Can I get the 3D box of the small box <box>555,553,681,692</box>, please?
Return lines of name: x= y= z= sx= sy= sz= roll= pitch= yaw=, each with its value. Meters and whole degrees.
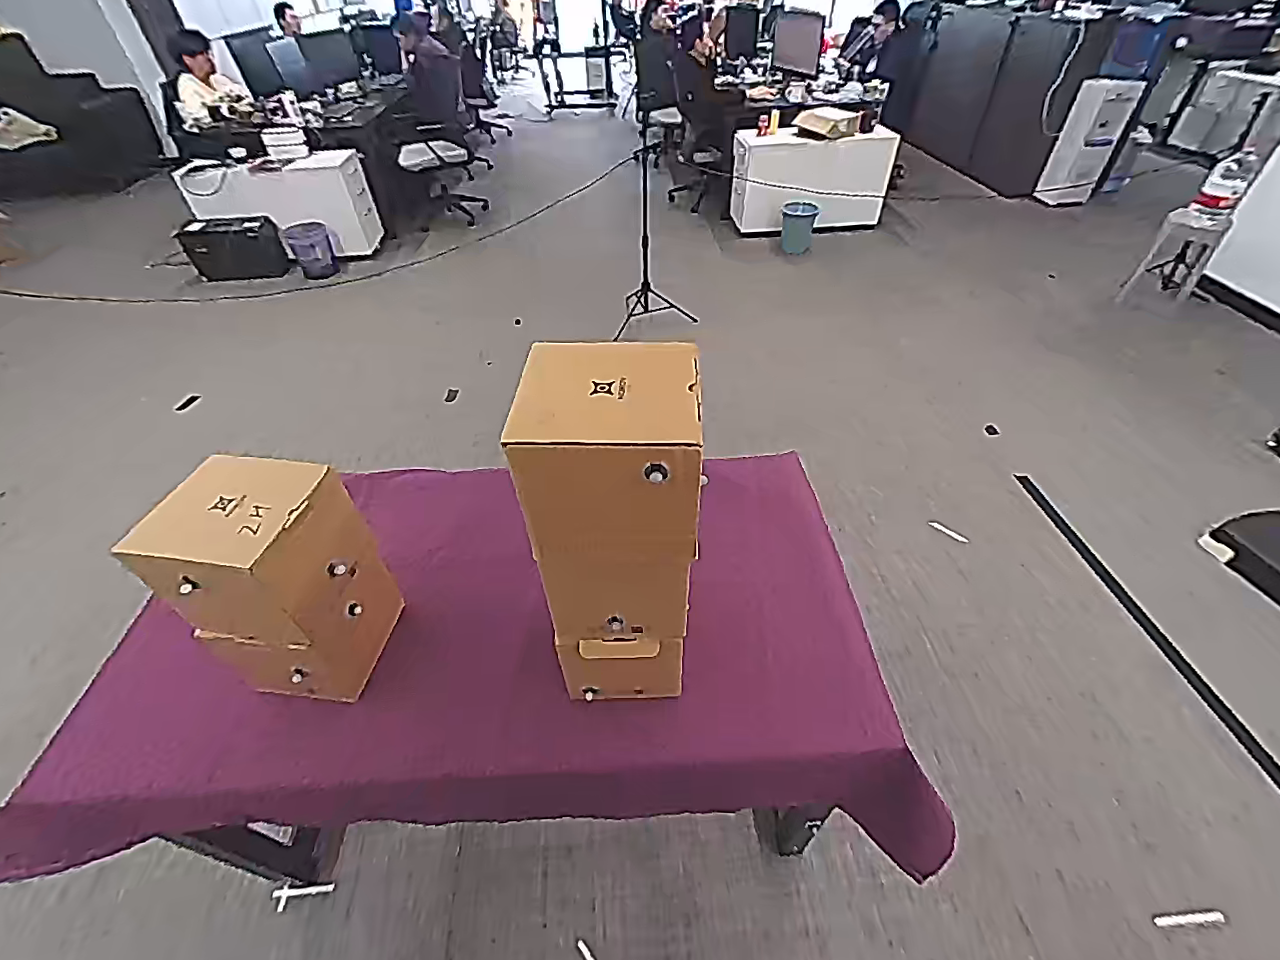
small box: x=-0.025 y=0.200 z=0.802 sx=0.168 sy=0.176 sz=0.179 roll=-1 pitch=43 yaw=1

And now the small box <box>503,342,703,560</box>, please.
small box: x=-0.027 y=-0.029 z=0.571 sx=0.179 sy=0.176 sz=0.168 roll=1 pitch=45 yaw=2

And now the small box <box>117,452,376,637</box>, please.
small box: x=-0.487 y=0.085 z=0.703 sx=0.179 sy=0.176 sz=0.168 roll=6 pitch=46 yaw=7

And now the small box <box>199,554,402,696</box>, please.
small box: x=-0.489 y=0.204 z=0.817 sx=0.168 sy=0.176 sz=0.179 roll=5 pitch=45 yaw=6
